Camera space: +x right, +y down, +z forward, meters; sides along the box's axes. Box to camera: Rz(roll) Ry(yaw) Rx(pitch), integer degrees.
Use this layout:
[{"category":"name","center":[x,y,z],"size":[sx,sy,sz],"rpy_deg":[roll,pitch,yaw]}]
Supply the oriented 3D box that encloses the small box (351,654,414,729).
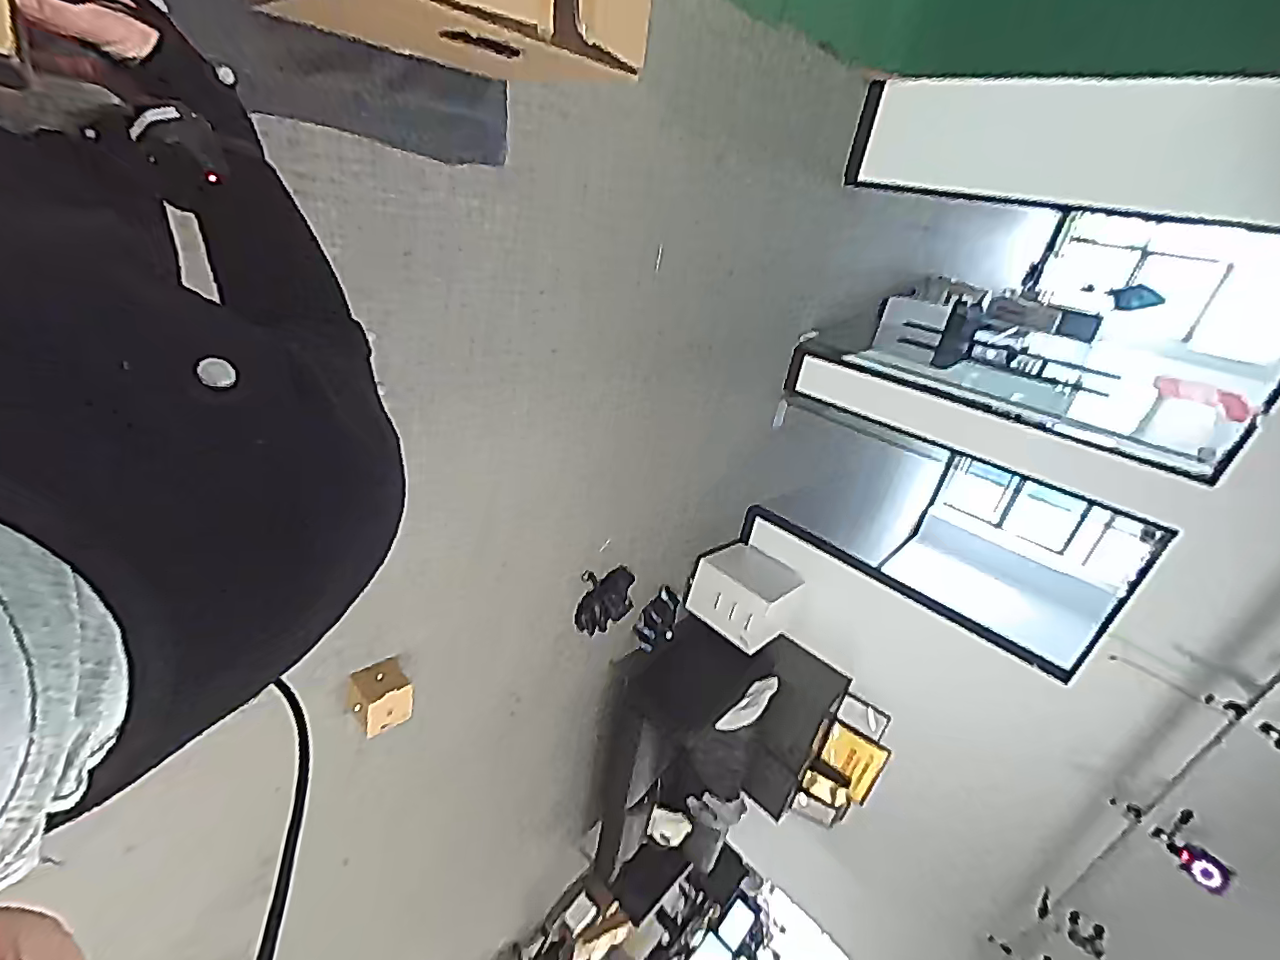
[{"category":"small box","center":[-0.972,0.785,2.036],"size":[0.168,0.176,0.179],"rpy_deg":[-16,127,-46]}]
